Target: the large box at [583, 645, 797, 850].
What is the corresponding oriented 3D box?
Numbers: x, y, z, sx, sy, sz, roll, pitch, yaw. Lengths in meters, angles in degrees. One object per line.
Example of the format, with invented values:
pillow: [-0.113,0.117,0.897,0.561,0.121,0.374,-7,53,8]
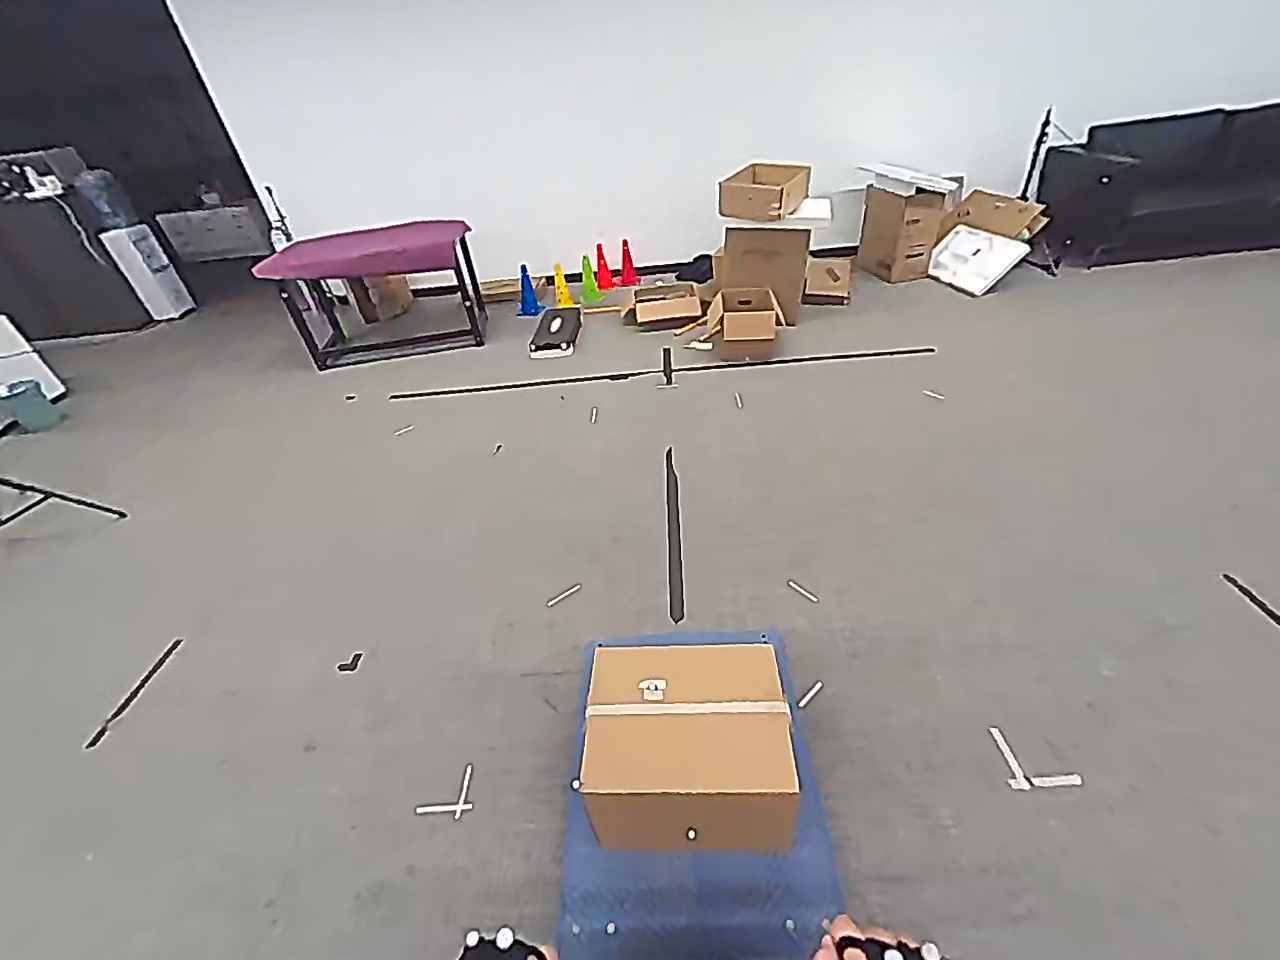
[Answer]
large box: [0.109,0.597,1.204,0.408,0.320,0.320,-4,37,5]
